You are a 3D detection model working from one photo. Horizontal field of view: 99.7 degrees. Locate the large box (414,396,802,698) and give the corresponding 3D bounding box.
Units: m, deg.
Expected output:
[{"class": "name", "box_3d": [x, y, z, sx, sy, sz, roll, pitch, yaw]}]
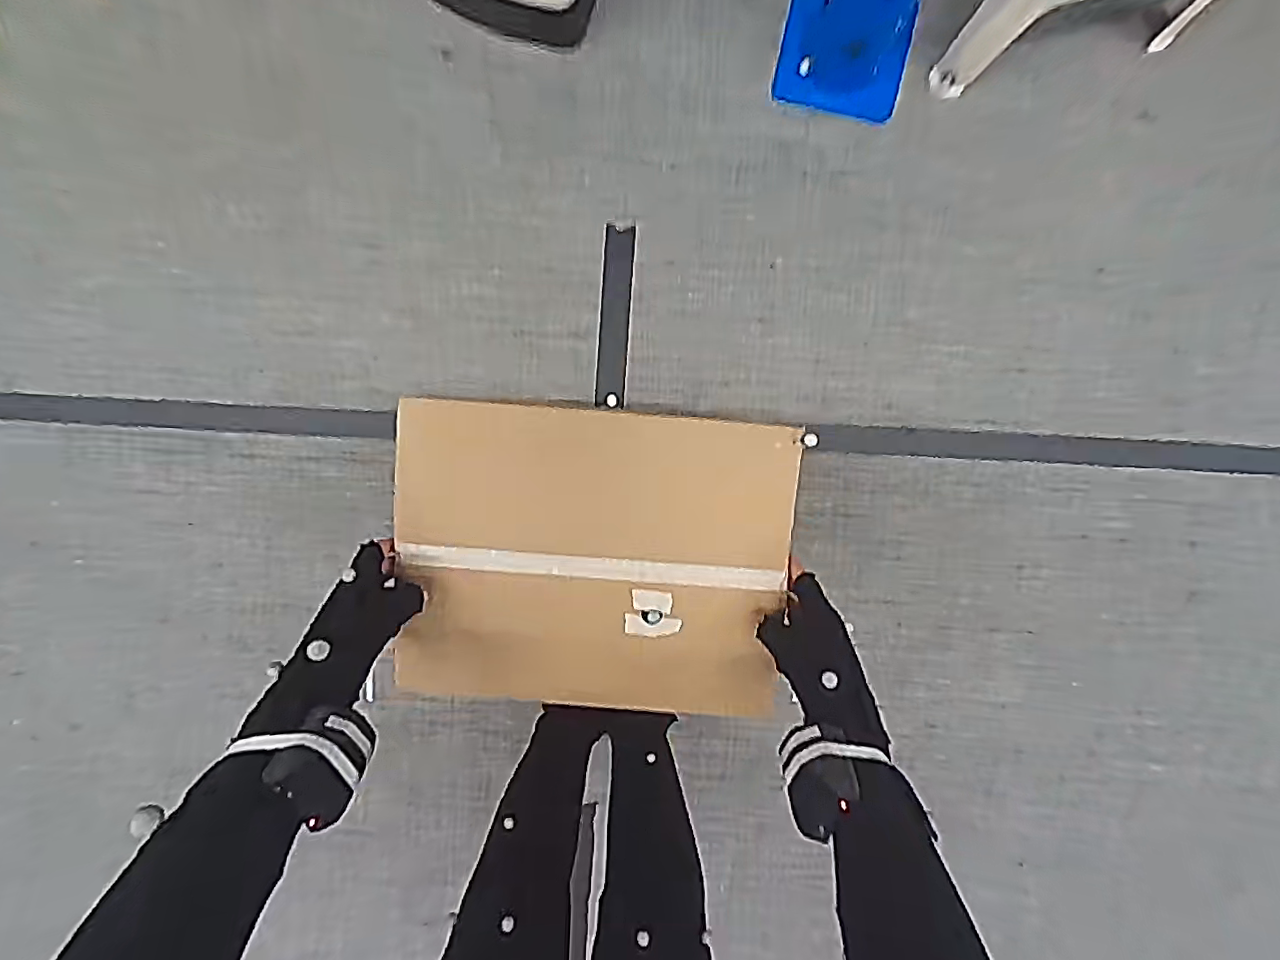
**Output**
[{"class": "large box", "box_3d": [-0.041, 0.060, 0.719, 0.408, 0.320, 0.320, 4, 98, -1]}]
